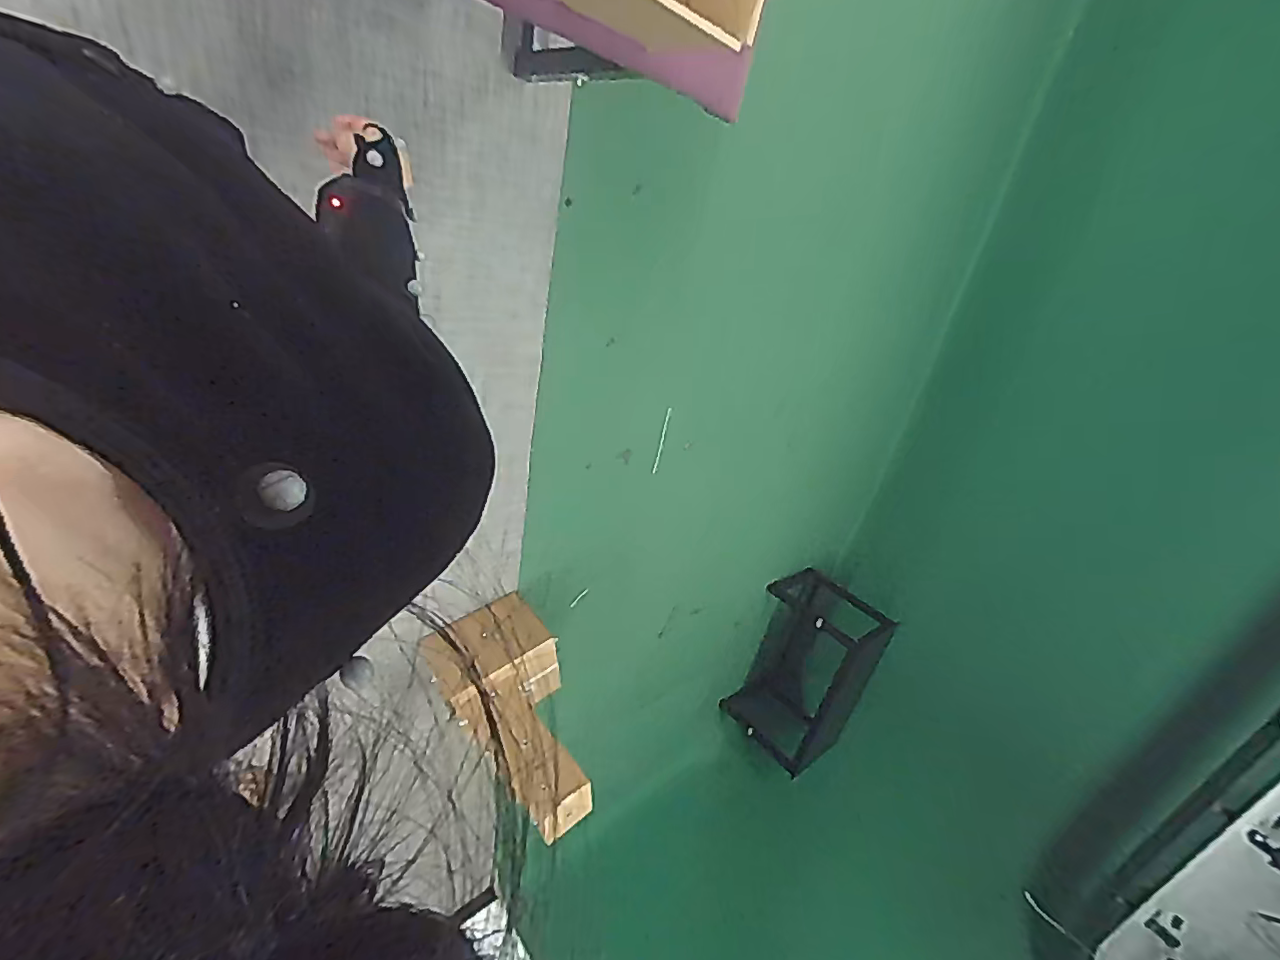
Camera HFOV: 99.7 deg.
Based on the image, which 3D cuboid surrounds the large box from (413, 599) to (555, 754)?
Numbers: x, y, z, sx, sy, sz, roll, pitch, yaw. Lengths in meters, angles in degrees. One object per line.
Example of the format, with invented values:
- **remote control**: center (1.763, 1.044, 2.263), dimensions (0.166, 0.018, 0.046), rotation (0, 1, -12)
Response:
- **large box**: center (-0.590, 0.737, 2.077), dimensions (0.408, 0.320, 0.320), rotation (-26, 133, -33)

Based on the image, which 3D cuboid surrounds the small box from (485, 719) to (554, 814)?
- **small box**: center (-0.391, 0.928, 1.762), dimensions (0.179, 0.176, 0.168), rotation (-26, 132, -33)

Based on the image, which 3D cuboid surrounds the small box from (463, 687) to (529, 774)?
- **small box**: center (-0.497, 0.858, 1.867), dimensions (0.179, 0.176, 0.168), rotation (-21, 130, -35)

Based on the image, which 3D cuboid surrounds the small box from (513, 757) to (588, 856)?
- **small box**: center (-0.276, 0.994, 1.667), dimensions (0.168, 0.176, 0.179), rotation (-24, 131, -33)
